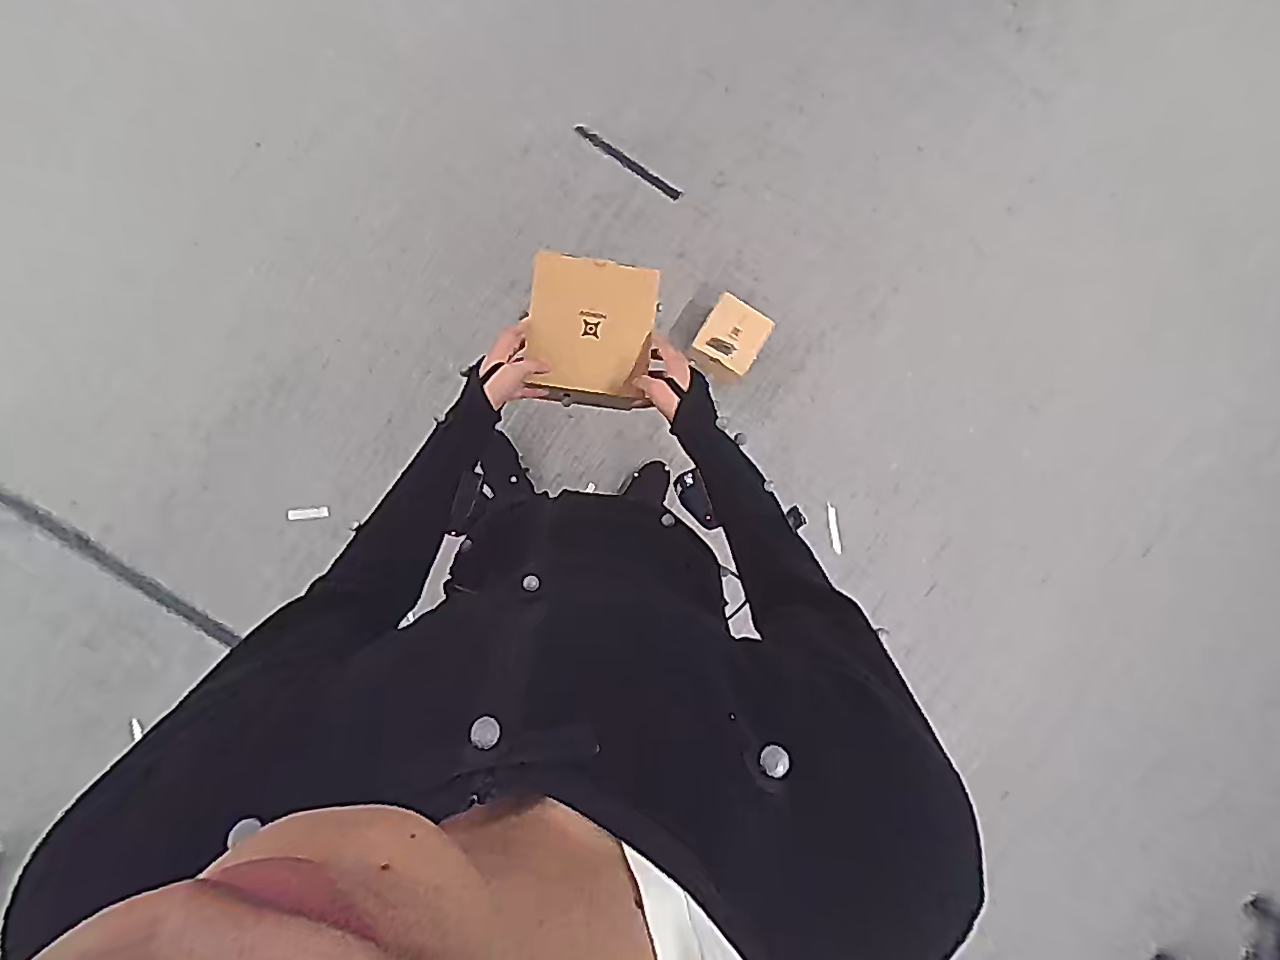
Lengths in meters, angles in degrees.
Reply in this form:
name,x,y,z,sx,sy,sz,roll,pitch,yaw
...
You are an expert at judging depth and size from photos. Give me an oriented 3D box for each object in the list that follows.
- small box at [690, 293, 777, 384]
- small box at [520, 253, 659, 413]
name,x,y,z,sx,sy,sz,roll,pitch,yaw
small box,0.256,-0.393,1.535,0.168,0.176,0.179,32,90,-4
small box,-0.072,-0.195,0.773,0.168,0.176,0.179,6,90,-7
